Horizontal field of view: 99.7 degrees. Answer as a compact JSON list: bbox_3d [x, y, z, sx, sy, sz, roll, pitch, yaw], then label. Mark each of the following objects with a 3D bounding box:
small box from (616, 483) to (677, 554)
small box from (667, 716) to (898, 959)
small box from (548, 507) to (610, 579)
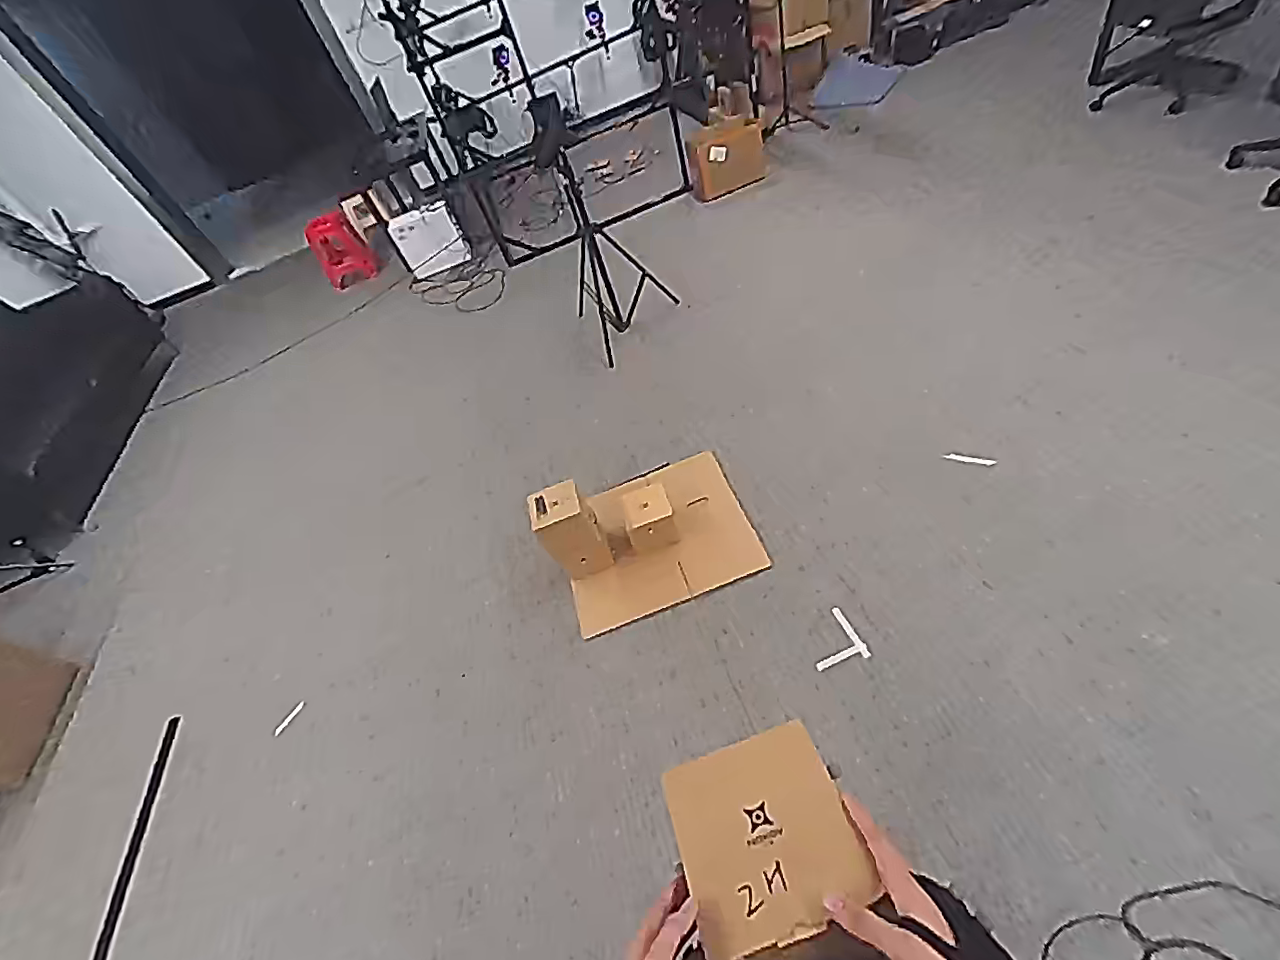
[{"bbox_3d":[0.030,0.144,1.991,0.179,0.176,0.168,-21,47,2],"label":"small box"},{"bbox_3d":[0.143,0.391,0.563,0.168,0.176,0.179,-22,32,0],"label":"small box"},{"bbox_3d":[-0.220,0.235,1.999,0.179,0.176,0.168,-23,47,2],"label":"small box"}]
